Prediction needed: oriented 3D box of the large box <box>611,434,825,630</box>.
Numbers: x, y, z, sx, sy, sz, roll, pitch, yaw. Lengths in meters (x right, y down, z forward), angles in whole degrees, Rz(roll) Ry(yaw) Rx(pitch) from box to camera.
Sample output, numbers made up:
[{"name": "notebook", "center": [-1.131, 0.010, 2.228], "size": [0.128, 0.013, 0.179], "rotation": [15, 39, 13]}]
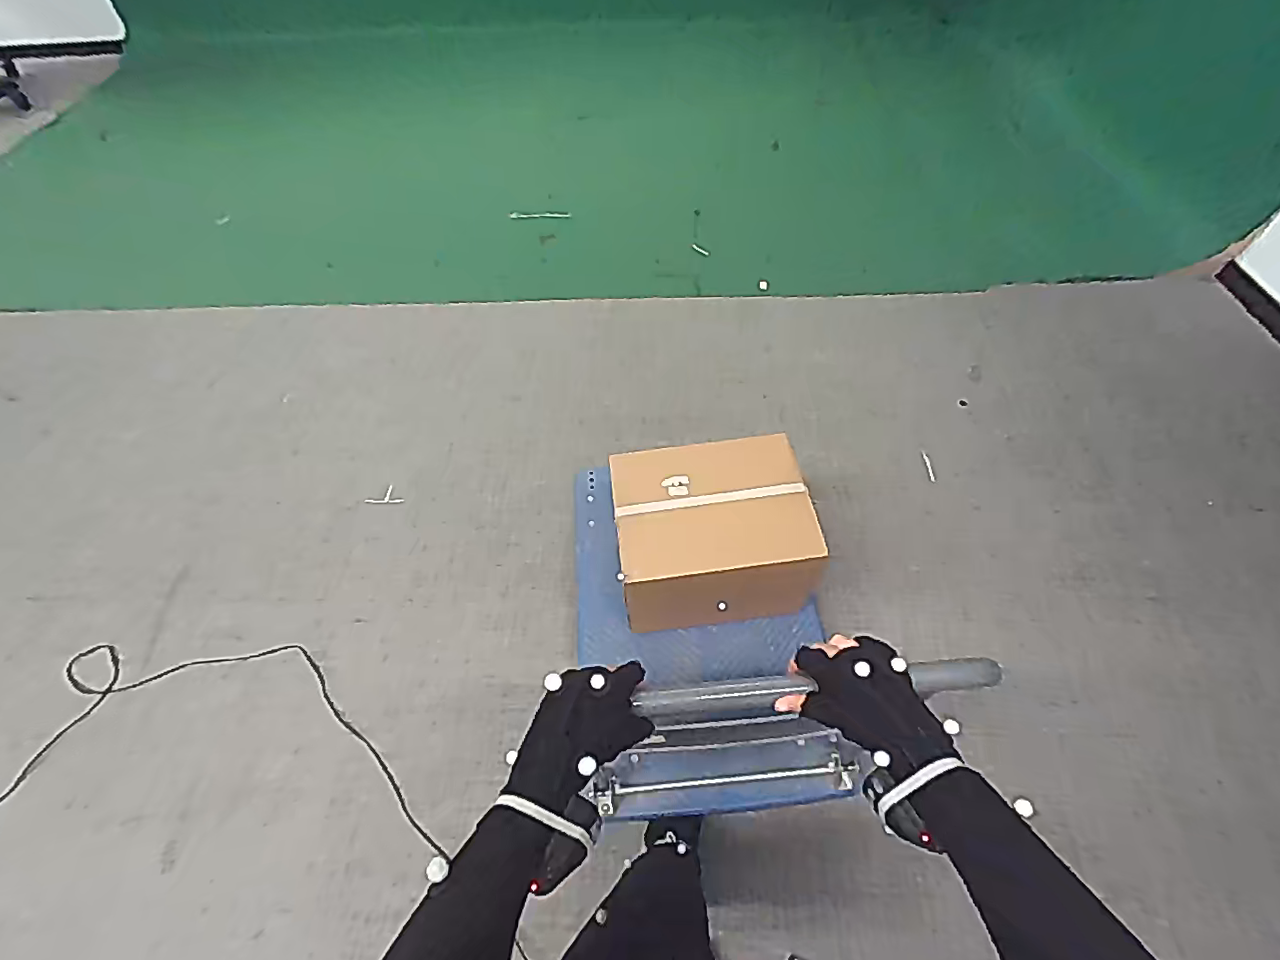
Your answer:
[{"name": "large box", "center": [0.158, 0.130, 1.261], "size": [0.408, 0.320, 0.320], "rotation": [-8, 55, -2]}]
